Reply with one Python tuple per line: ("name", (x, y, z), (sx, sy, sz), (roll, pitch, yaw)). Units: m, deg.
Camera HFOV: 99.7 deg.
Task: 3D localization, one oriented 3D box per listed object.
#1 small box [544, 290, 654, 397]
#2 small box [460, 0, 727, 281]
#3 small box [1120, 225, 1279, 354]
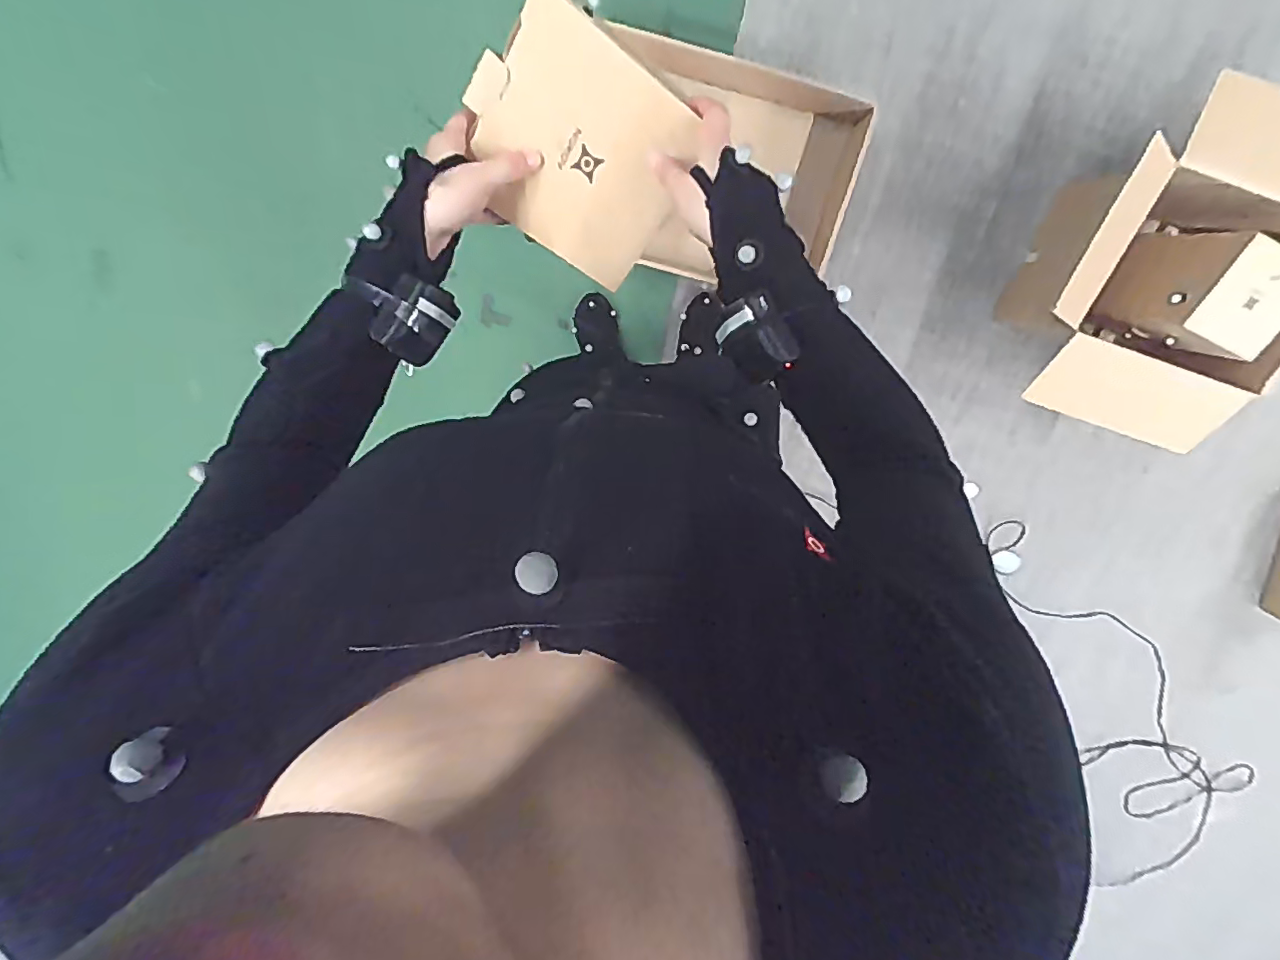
("small box", (-0.091, -0.331, 1.305), (0.176, 0.168, 0.179), (38, 84, -40))
("small box", (-0.042, -0.334, 0.523), (0.179, 0.176, 0.168), (28, 124, -22))
("small box", (1.099, -0.368, 1.048), (0.168, 0.176, 0.179), (22, 111, -9))
